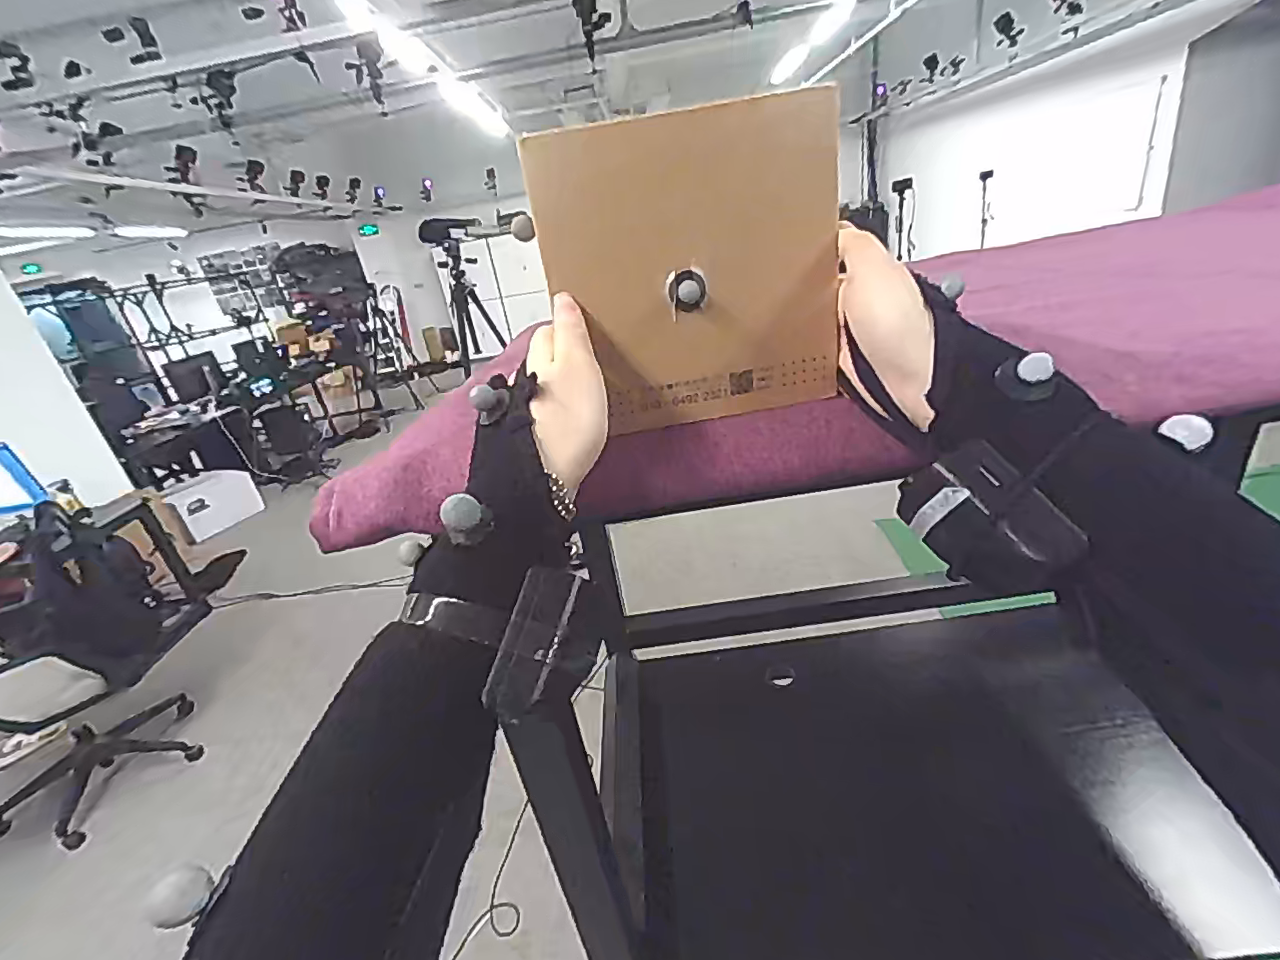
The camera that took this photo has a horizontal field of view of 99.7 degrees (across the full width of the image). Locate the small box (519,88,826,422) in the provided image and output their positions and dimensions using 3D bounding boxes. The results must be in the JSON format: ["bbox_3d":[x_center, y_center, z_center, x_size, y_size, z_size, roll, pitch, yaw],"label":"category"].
[{"bbox_3d":[0.024,-0.147,0.385,0.168,0.176,0.179,-9,25,-1],"label":"small box"}]
